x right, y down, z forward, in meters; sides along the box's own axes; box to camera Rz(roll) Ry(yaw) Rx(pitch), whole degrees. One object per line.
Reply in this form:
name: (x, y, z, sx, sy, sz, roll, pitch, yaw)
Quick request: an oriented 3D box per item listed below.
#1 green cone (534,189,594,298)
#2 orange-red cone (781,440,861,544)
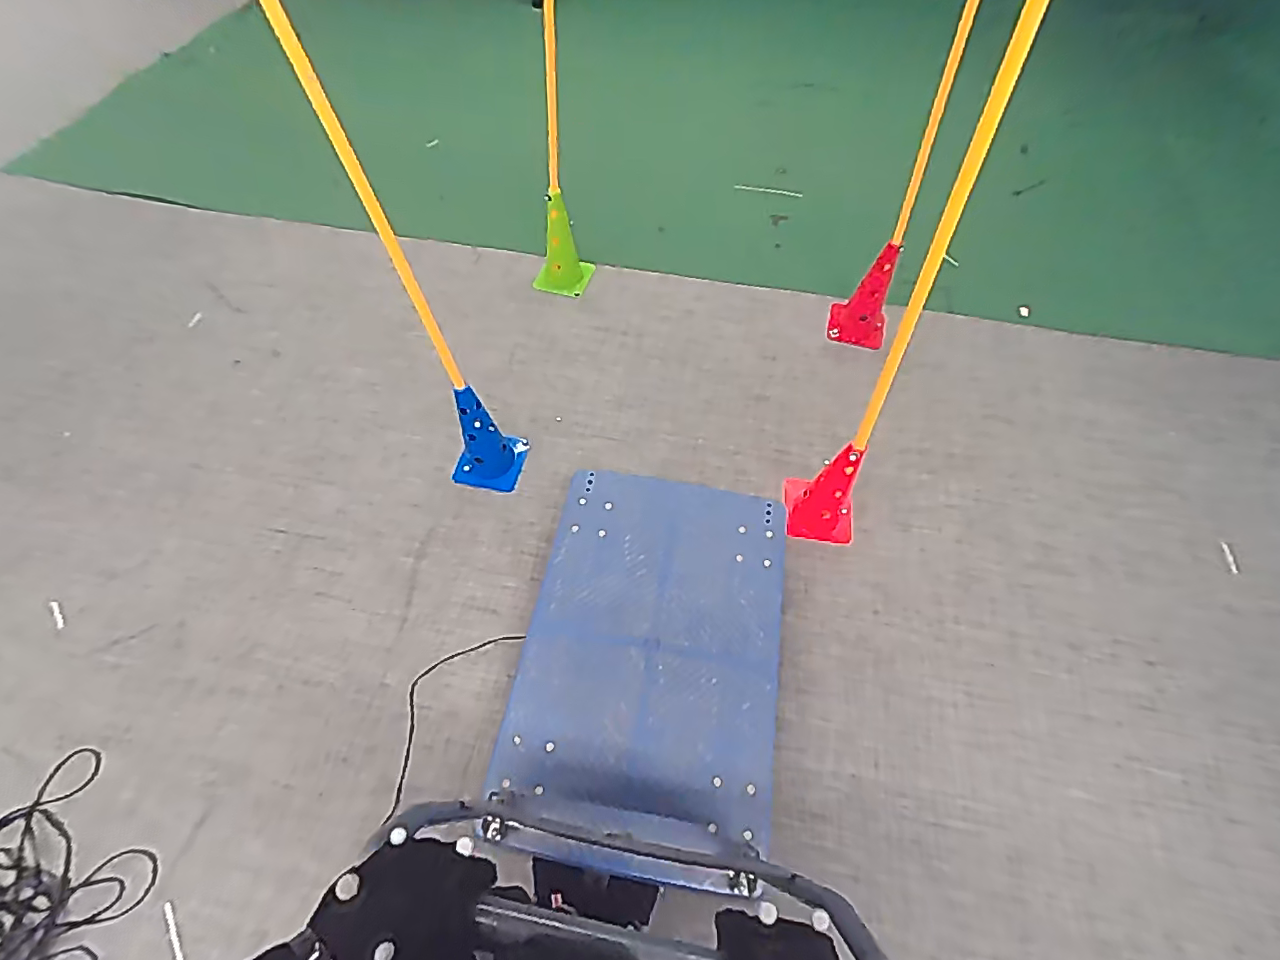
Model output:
green cone: (-0.299, -0.889, 1.992, 0.202, 0.368, 0.200, 13, 60, 8)
orange-red cone: (0.527, 0.007, 1.486, 0.199, 0.360, 0.198, 9, 59, 6)
